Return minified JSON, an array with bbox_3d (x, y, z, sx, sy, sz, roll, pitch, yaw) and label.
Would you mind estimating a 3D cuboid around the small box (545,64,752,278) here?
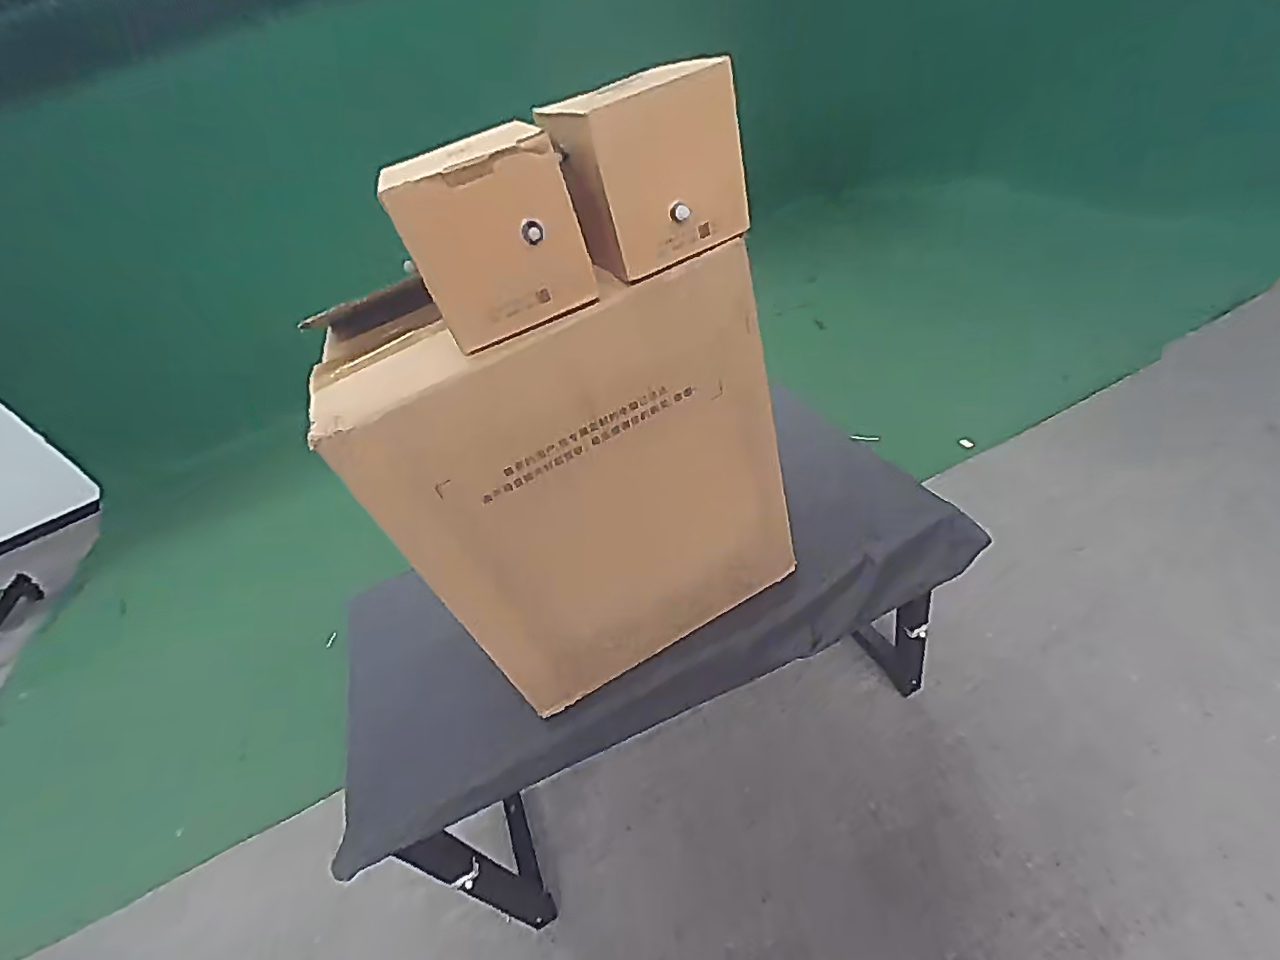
[{"bbox_3d":[0.012,-0.357,0.634,0.168,0.176,0.179,-27,41,-10],"label":"small box"}]
